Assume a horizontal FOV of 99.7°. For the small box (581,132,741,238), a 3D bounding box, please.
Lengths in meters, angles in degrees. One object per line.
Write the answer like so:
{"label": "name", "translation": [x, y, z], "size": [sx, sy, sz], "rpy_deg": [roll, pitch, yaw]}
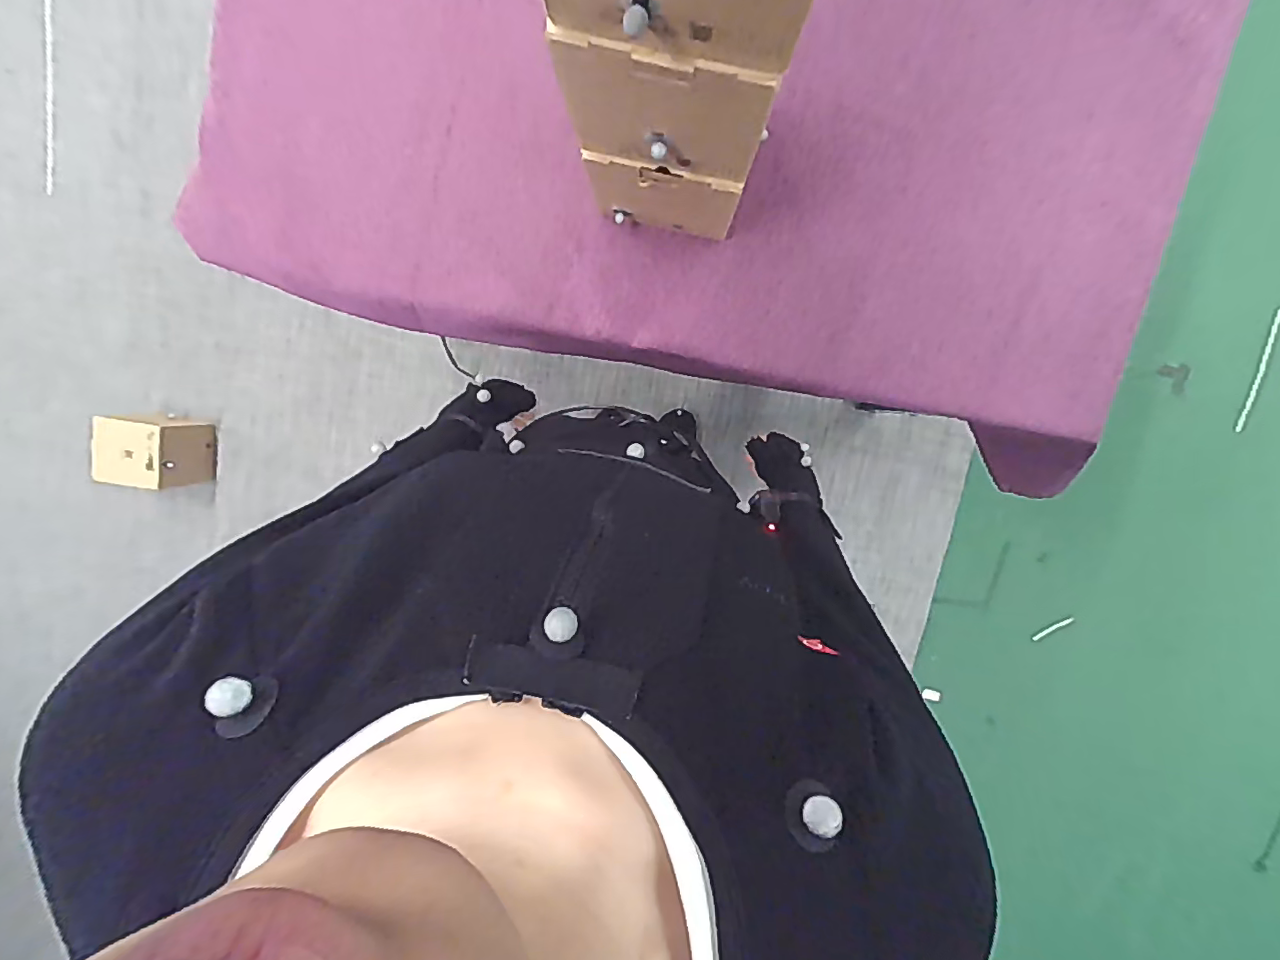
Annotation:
{"label": "small box", "translation": [0.042, -0.395, 0.605], "size": [0.168, 0.176, 0.179], "rpy_deg": [13, 97, 0]}

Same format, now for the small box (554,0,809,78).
{"label": "small box", "translation": [0.033, -0.363, 0.279], "size": [0.168, 0.176, 0.179], "rpy_deg": [13, 98, 1]}

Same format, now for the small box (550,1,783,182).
{"label": "small box", "translation": [0.037, -0.381, 0.441], "size": [0.168, 0.176, 0.179], "rpy_deg": [13, 98, 1]}

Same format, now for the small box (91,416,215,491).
{"label": "small box", "translation": [-1.281, -0.075, 1.429], "size": [0.179, 0.176, 0.168], "rpy_deg": [10, 98, 1]}
